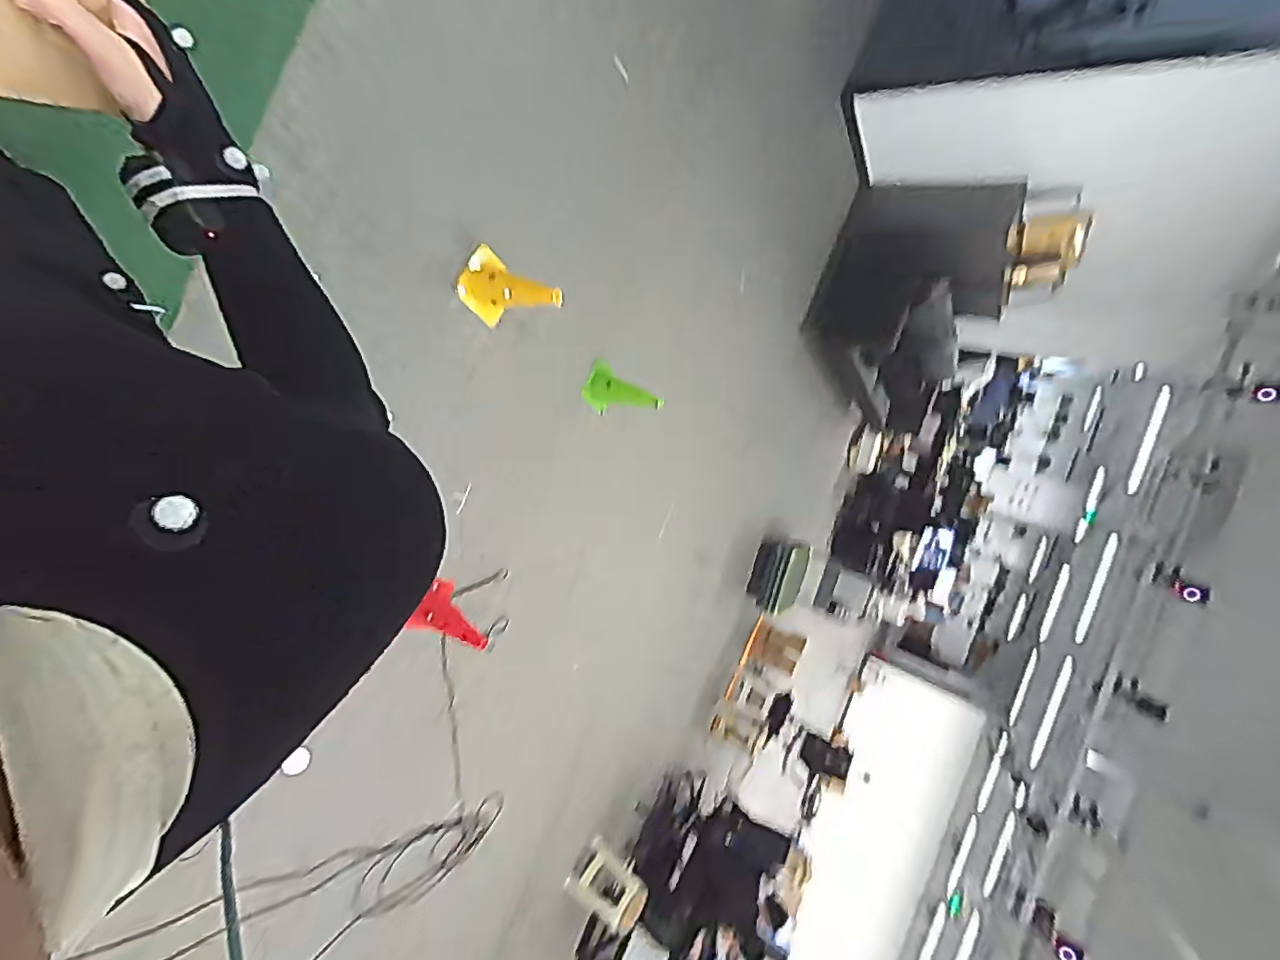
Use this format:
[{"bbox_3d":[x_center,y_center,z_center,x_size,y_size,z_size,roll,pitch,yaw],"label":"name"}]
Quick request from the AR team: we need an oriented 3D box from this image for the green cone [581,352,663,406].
[{"bbox_3d":[-0.047,-0.416,2.401,0.202,0.368,0.200,35,78,-55],"label":"green cone"}]
